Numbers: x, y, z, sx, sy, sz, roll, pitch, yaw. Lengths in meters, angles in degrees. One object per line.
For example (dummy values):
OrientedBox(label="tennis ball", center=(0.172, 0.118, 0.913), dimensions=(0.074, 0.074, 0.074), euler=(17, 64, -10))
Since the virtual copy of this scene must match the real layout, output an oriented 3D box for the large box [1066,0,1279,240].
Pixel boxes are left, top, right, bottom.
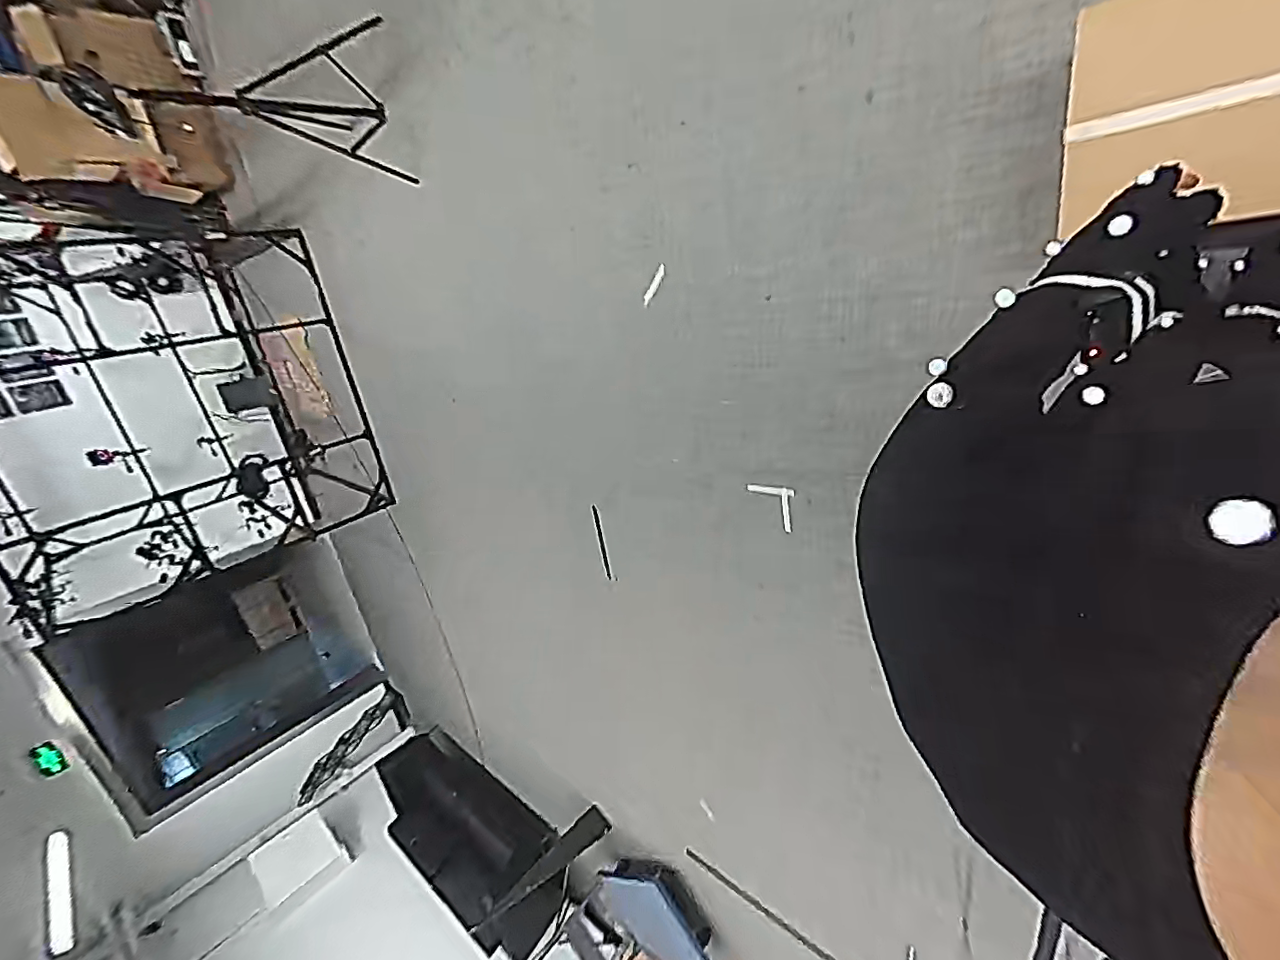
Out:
OrientedBox(label="large box", center=(0.897, -0.561, 0.786), dimensions=(0.408, 0.320, 0.320), euler=(8, 118, 42))
